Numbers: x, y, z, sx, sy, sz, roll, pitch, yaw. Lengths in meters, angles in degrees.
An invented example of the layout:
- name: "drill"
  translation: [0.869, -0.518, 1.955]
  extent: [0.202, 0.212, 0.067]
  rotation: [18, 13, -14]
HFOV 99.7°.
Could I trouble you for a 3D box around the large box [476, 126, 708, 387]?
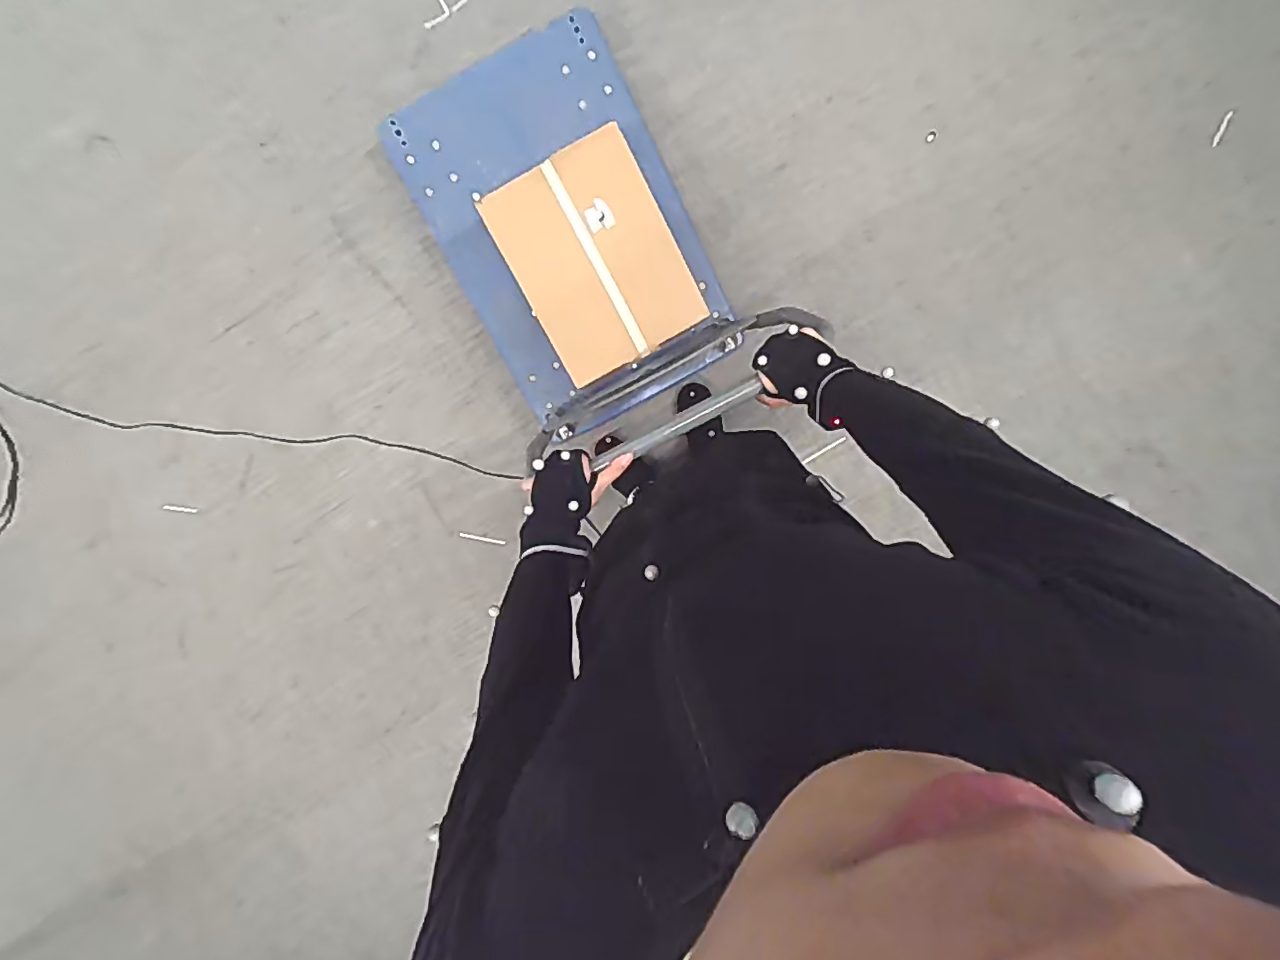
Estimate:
- name: "large box"
  translation: [-0.091, -0.458, 1.210]
  extent: [0.320, 0.320, 0.408]
  rotation: [-28, 99, 3]
